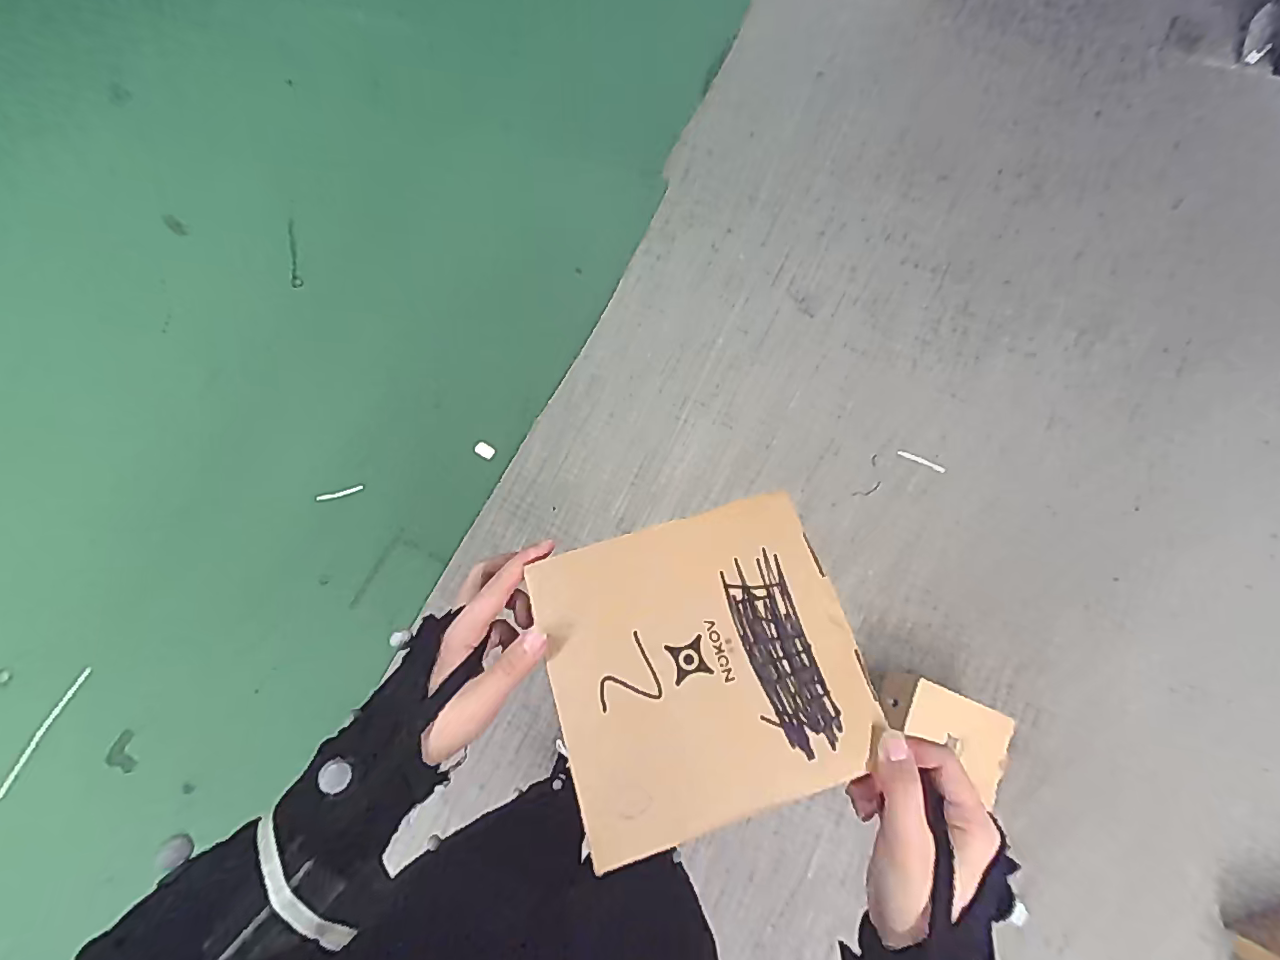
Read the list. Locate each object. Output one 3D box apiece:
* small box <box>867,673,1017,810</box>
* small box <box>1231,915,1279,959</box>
[{"bbox_3d":[0.557,0.479,1.023,0.179,0.176,0.168,22,77,9],"label":"small box"},{"bbox_3d":[1.160,0.839,0.882,0.179,0.176,0.168,-17,73,0],"label":"small box"}]
